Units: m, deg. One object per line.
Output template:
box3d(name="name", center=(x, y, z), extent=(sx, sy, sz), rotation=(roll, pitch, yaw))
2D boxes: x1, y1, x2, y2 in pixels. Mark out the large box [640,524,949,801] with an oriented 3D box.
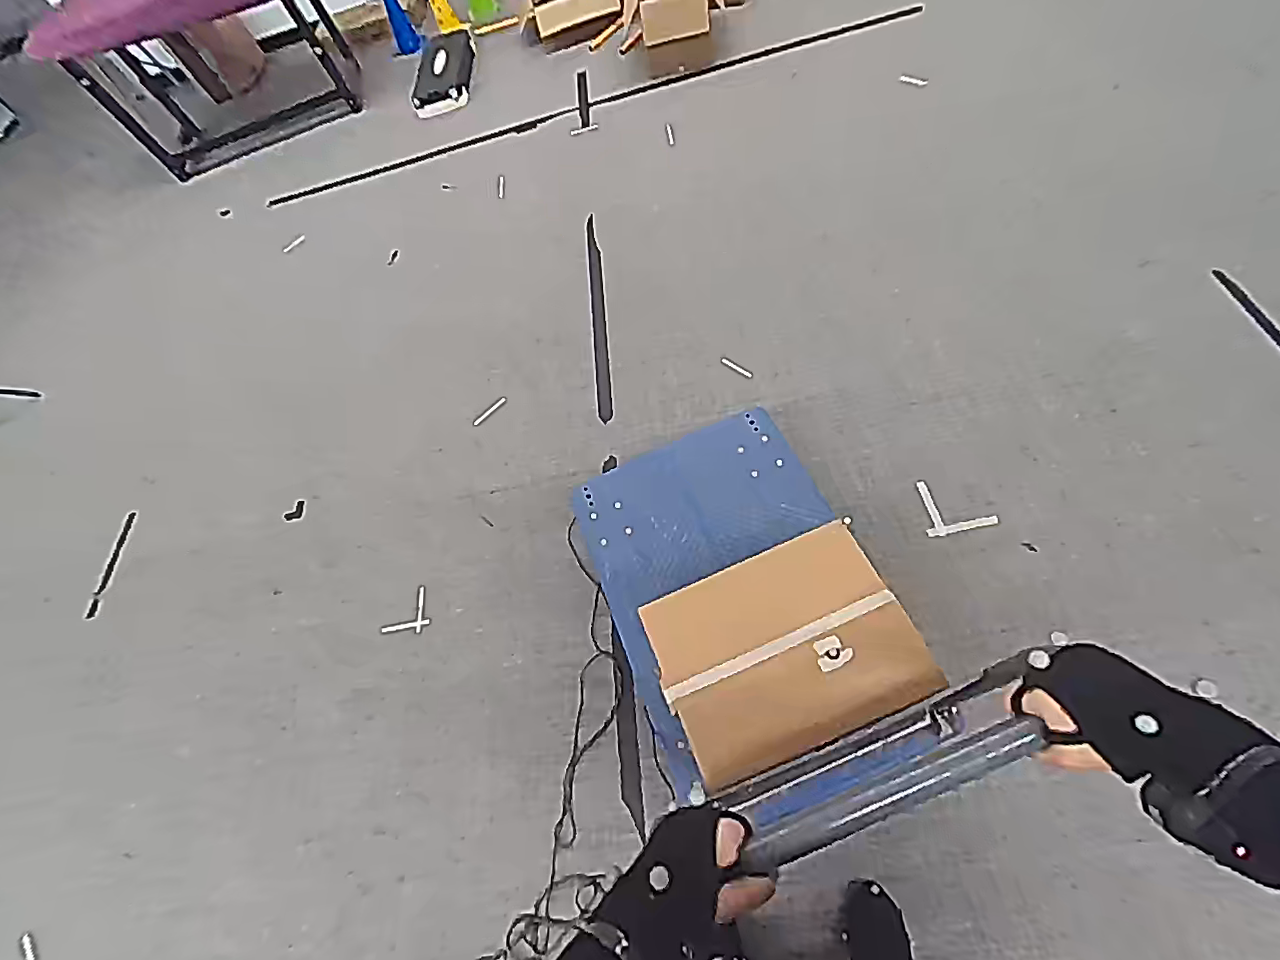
box3d(name="large box", center=(0.259, 0.347, 1.005), extent=(0.408, 0.320, 0.320), rotation=(-24, 60, -1))
